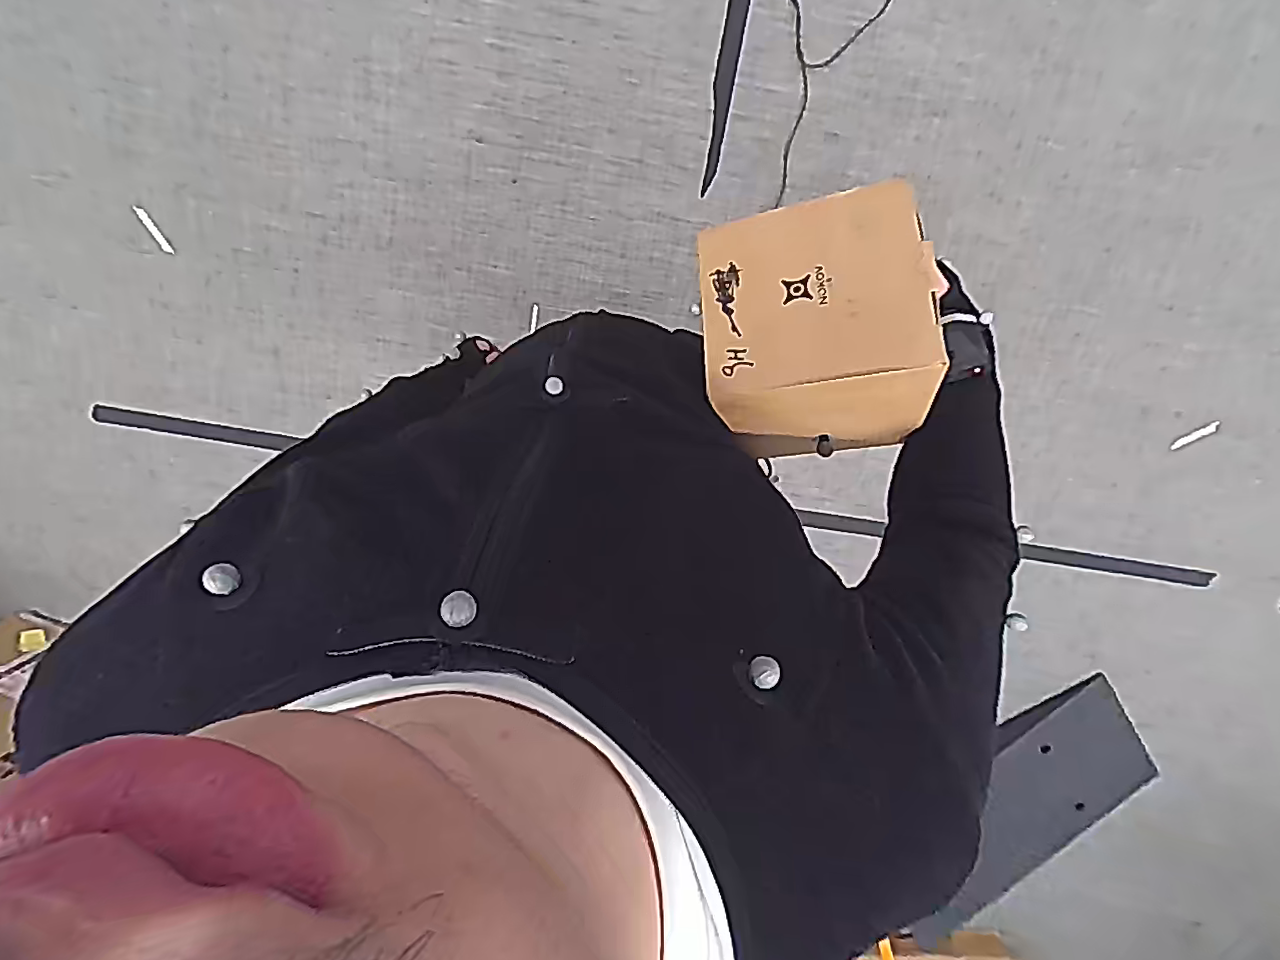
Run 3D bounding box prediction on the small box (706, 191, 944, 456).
[{"bbox_3d":[0.166,-0.131,0.519,0.179,0.176,0.168,-6,71,17],"label":"small box"}]
